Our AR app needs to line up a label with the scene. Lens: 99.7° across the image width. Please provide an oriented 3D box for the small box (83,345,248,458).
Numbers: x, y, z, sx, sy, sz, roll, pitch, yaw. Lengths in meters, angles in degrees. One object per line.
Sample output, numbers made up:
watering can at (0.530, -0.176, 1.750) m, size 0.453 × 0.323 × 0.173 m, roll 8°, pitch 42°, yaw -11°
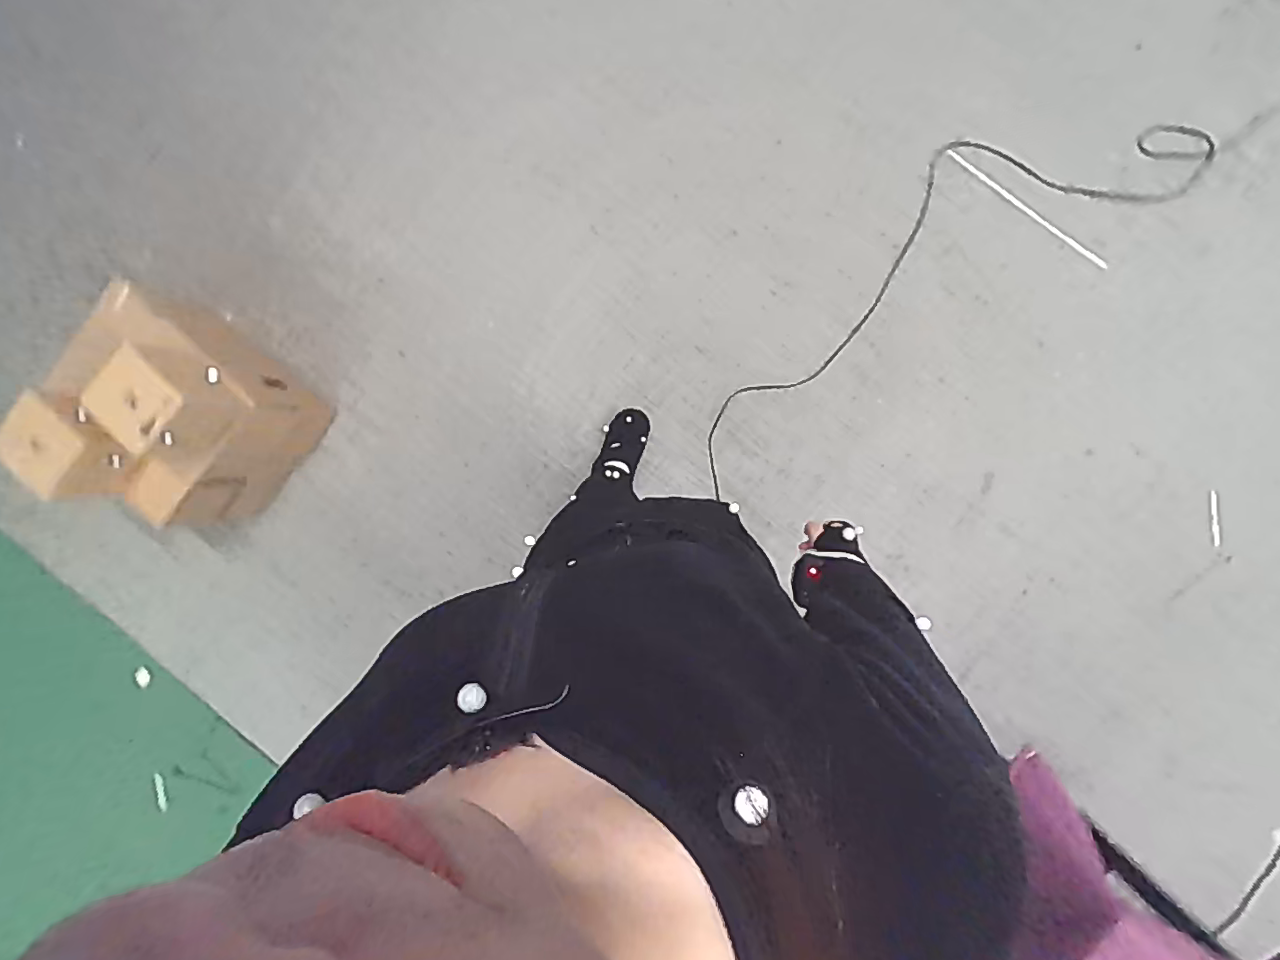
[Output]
small box at (-1.022, -0.160, 1.178) m, size 0.179 × 0.176 × 0.168 m, roll 44°, pitch 96°, yaw 3°

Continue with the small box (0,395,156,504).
small box at (-1.248, -0.070, 1.210) m, size 0.179 × 0.176 × 0.168 m, roll 42°, pitch 97°, yaw 4°
